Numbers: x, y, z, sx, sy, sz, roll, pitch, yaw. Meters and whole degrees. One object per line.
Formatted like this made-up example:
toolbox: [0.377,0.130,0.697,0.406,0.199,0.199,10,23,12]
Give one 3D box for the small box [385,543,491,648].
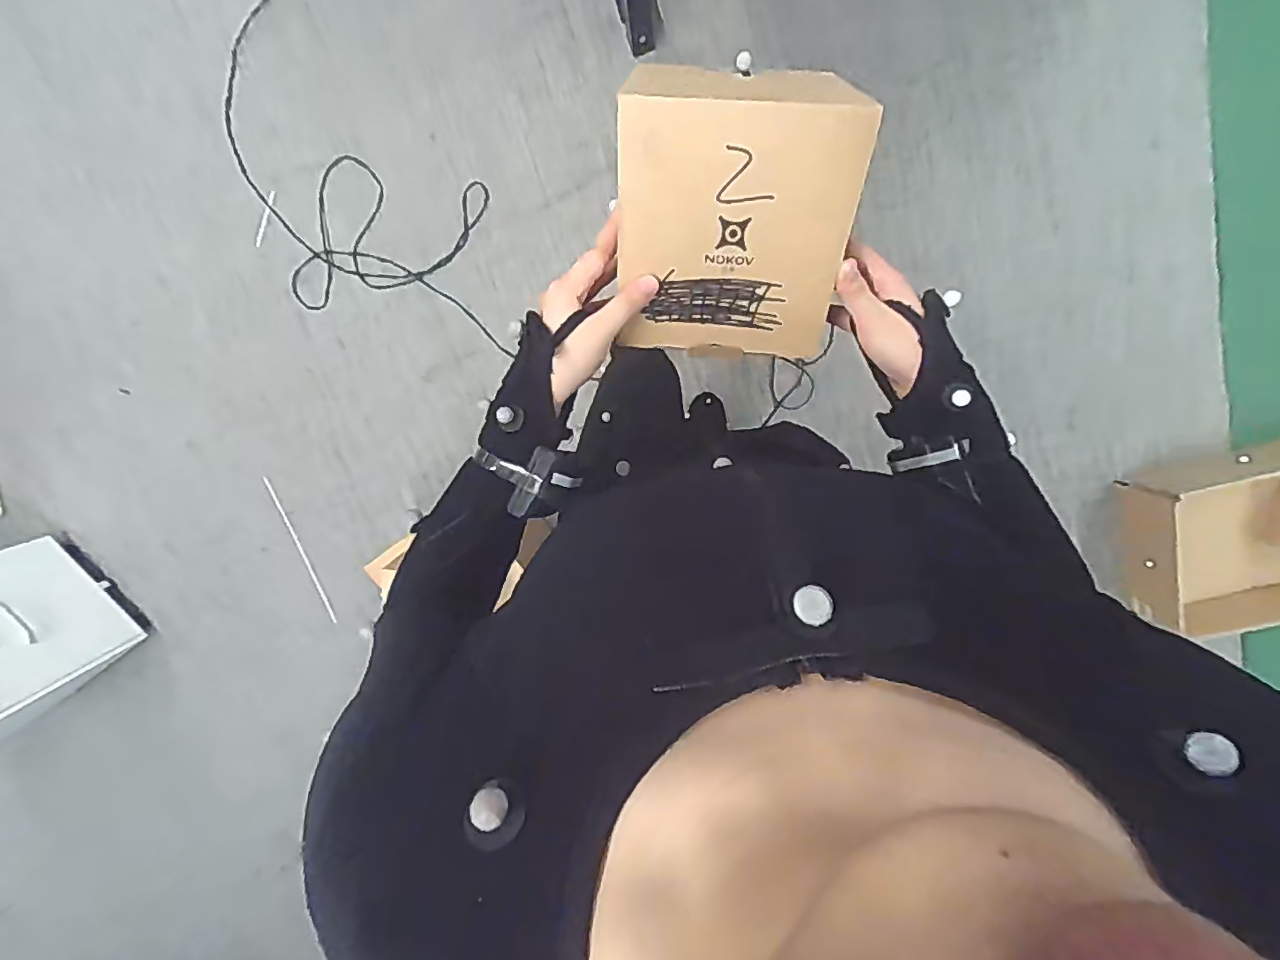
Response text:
small box: [-0.428,0.243,1.173,0.179,0.176,0.168,4,104,0]
